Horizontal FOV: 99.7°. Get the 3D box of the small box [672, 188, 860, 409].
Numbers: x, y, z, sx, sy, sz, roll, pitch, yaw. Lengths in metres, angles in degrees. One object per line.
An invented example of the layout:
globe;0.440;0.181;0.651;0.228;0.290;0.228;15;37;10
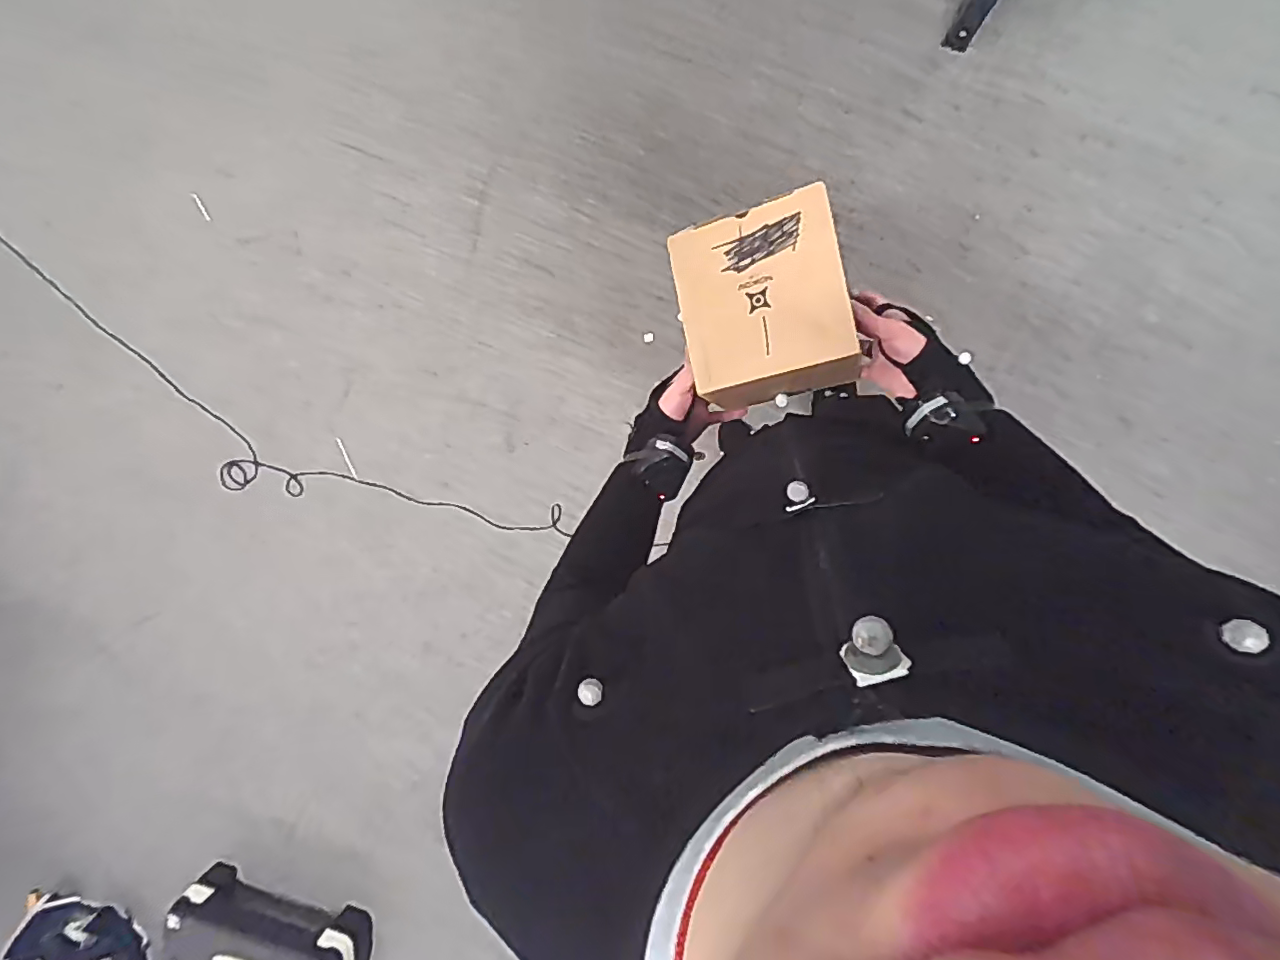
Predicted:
small box;0.149;-0.190;0.627;0.168;0.176;0.179;-11;88;20
